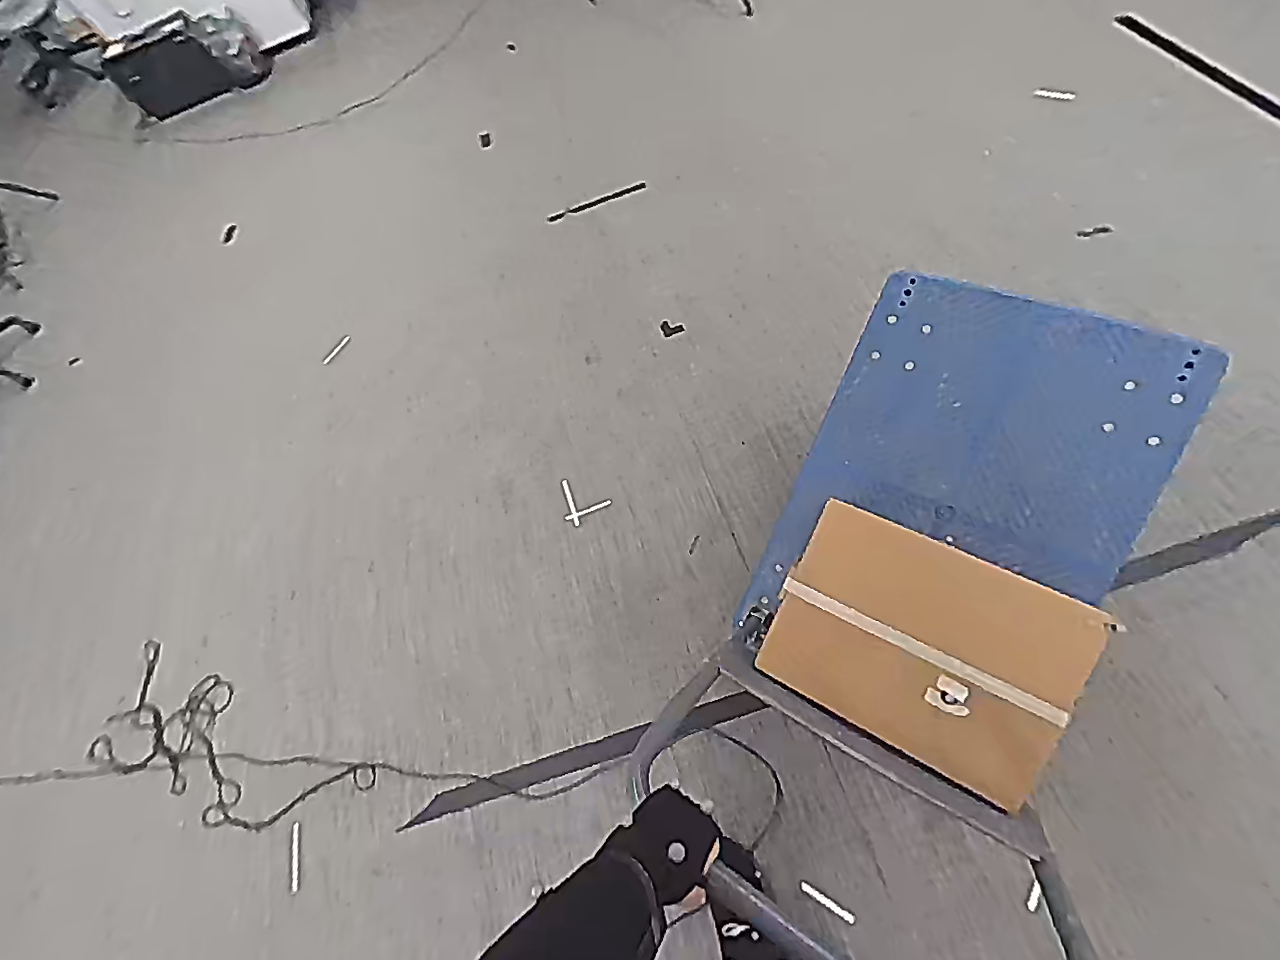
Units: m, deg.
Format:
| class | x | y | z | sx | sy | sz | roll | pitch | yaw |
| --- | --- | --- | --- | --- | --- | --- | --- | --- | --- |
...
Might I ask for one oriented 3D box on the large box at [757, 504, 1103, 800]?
| class | x | y | z | sx | sy | sz | roll | pitch | yaw |
| --- | --- | --- | --- | --- | --- | --- | --- | --- | --- |
| large box | 0.475 | 0.259 | 0.973 | 0.408 | 0.320 | 0.320 | 25 | 97 | 22 |
